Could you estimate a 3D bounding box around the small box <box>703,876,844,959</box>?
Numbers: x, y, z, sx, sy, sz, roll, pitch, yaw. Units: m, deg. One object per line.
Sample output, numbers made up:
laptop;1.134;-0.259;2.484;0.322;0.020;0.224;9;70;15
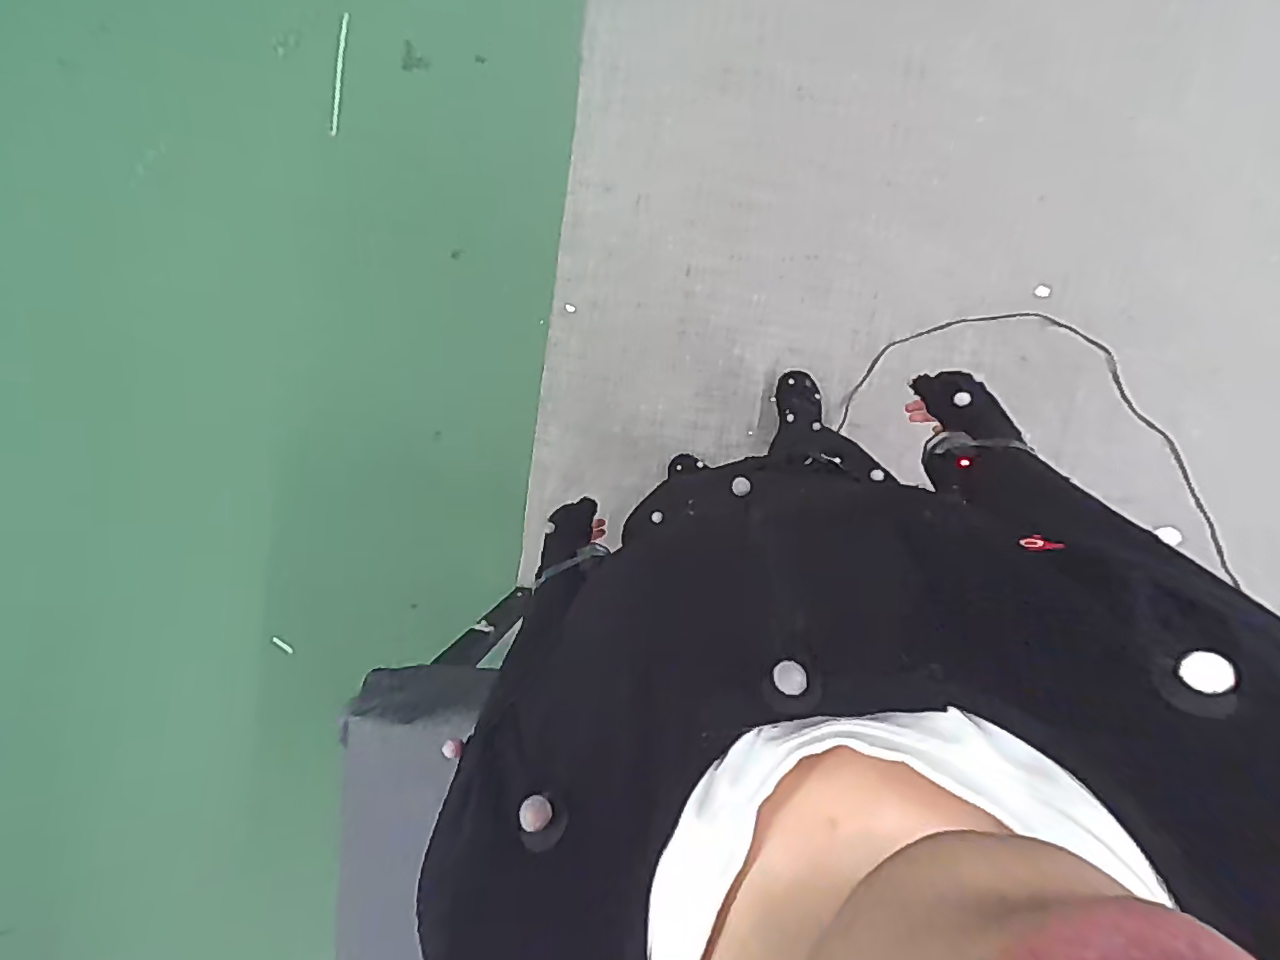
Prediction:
small box;0.173;0.679;0.720;0.168;0.176;0.179;7;96;5
